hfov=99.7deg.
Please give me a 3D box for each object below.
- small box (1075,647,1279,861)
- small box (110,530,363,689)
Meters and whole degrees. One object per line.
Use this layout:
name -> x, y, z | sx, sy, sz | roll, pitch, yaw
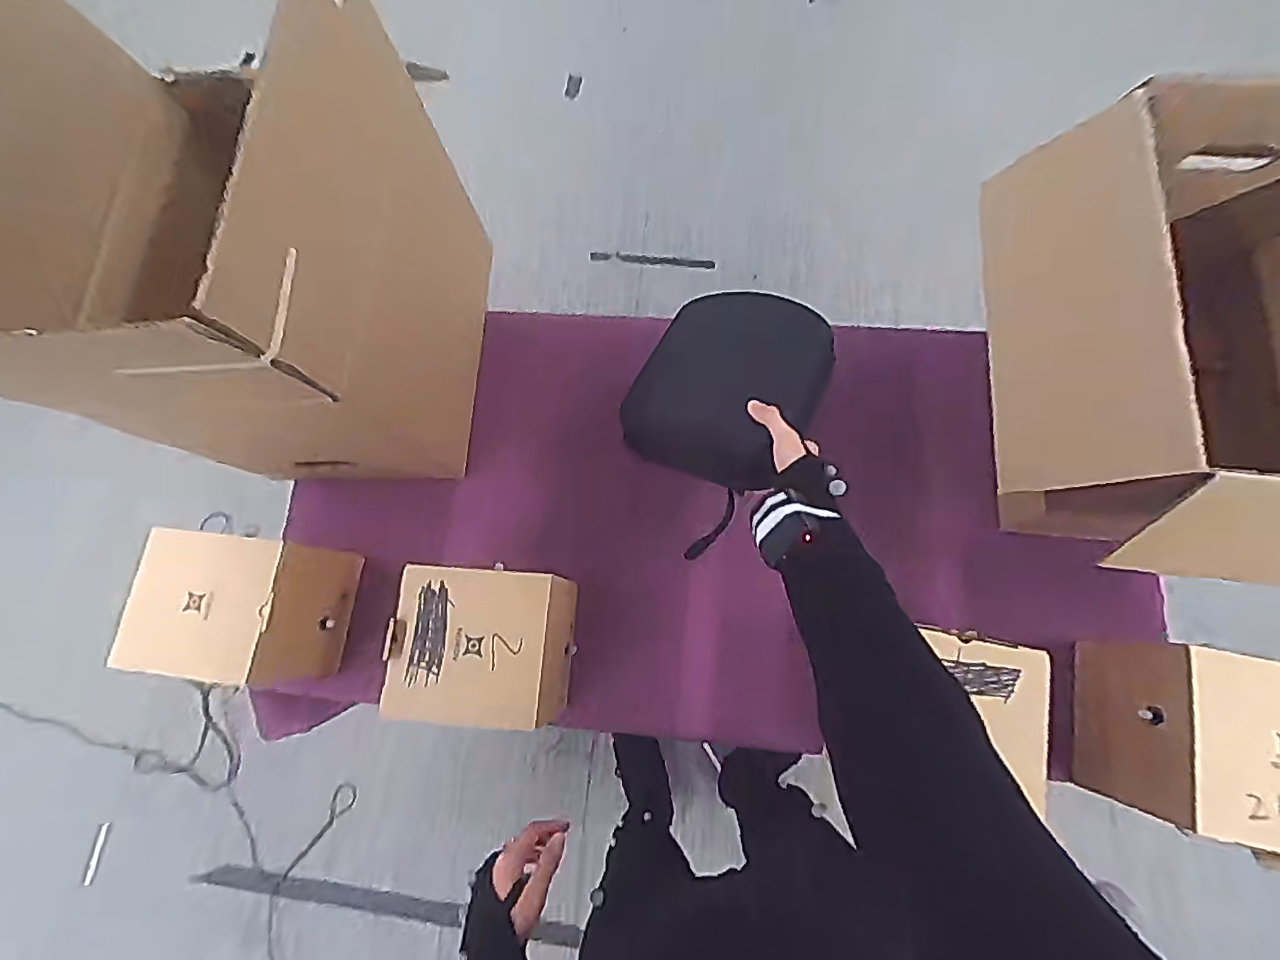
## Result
small box -> 0.609, 0.284, 0.579 | 0.168, 0.176, 0.179 | 11, 76, 8
small box -> -0.504, 0.168, 0.704 | 0.179, 0.176, 0.168 | 5, 75, 5
